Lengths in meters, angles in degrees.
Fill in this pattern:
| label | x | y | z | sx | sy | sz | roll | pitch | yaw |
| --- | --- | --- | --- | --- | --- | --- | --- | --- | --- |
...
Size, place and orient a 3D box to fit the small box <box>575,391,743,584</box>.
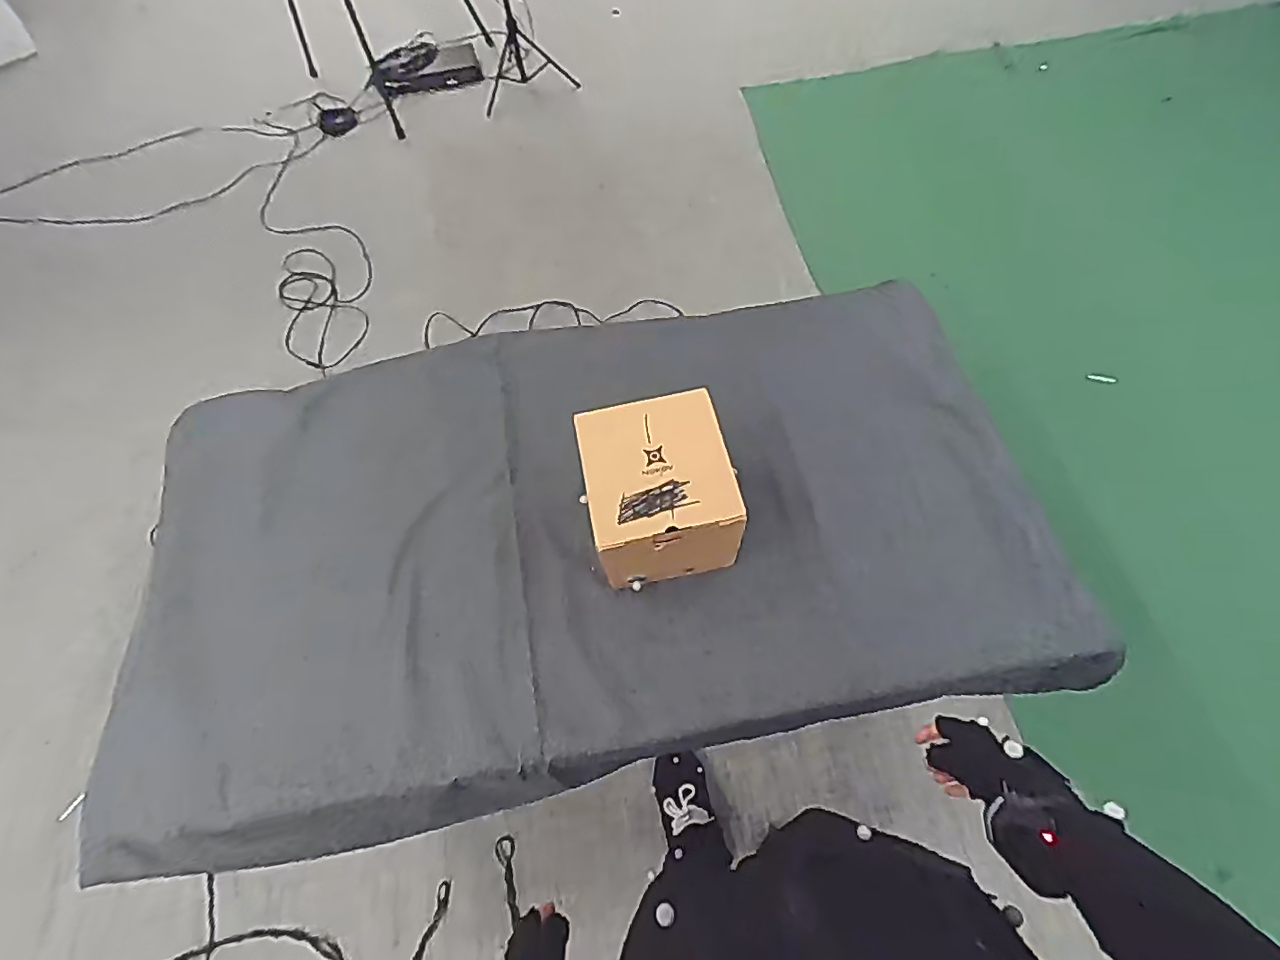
| label | x | y | z | sx | sy | sz | roll | pitch | yaw |
| --- | --- | --- | --- | --- | --- | --- | --- | --- | --- |
| small box | 0.024 | 0.021 | 0.678 | 0.168 | 0.176 | 0.179 | -12 | 62 | -1 |
